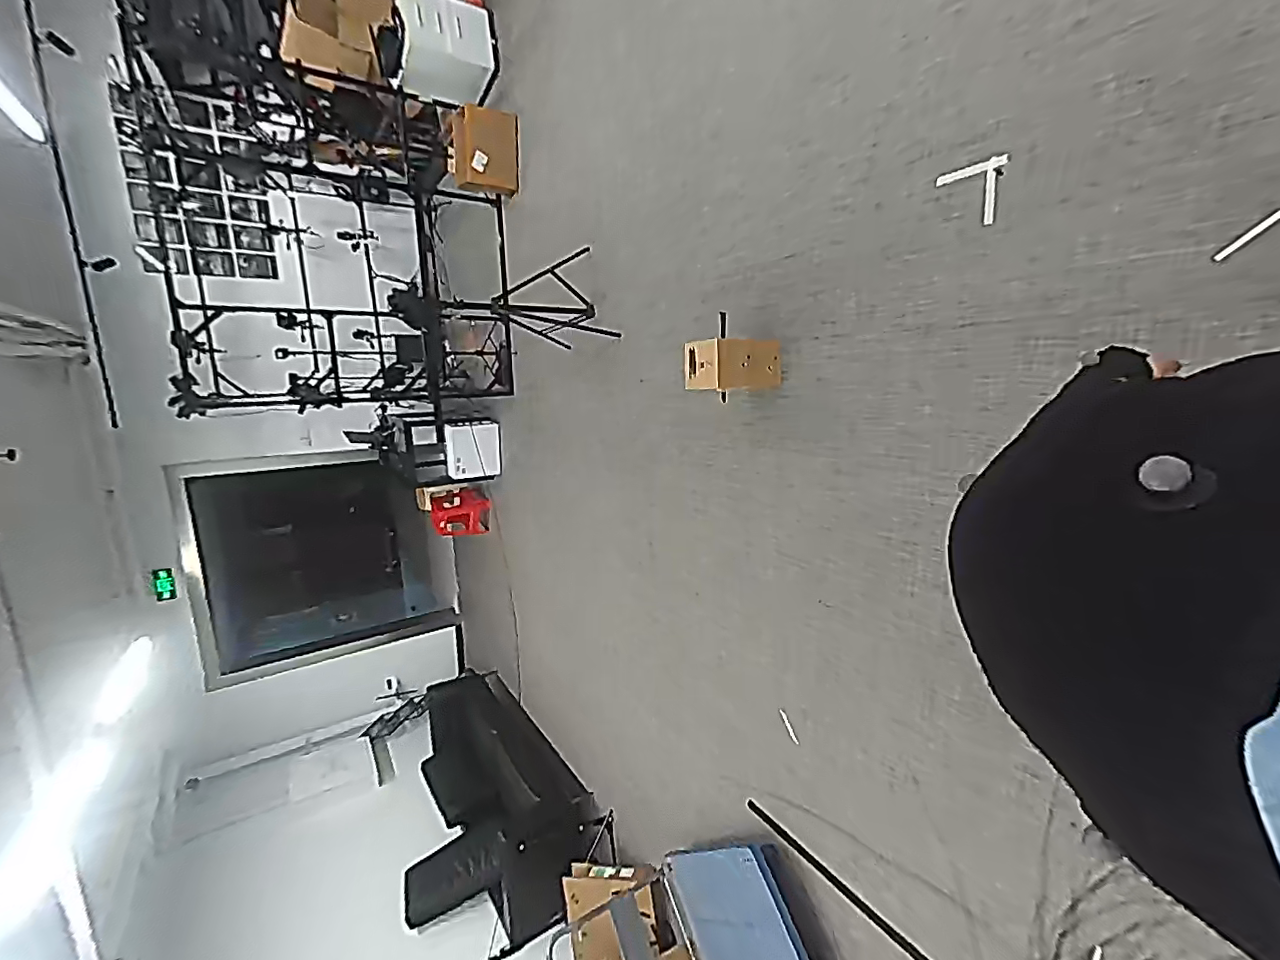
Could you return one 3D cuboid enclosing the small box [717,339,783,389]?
[{"bbox_3d":[0.408,-0.425,2.005,0.179,0.176,0.168,6,103,57],"label":"small box"}]
